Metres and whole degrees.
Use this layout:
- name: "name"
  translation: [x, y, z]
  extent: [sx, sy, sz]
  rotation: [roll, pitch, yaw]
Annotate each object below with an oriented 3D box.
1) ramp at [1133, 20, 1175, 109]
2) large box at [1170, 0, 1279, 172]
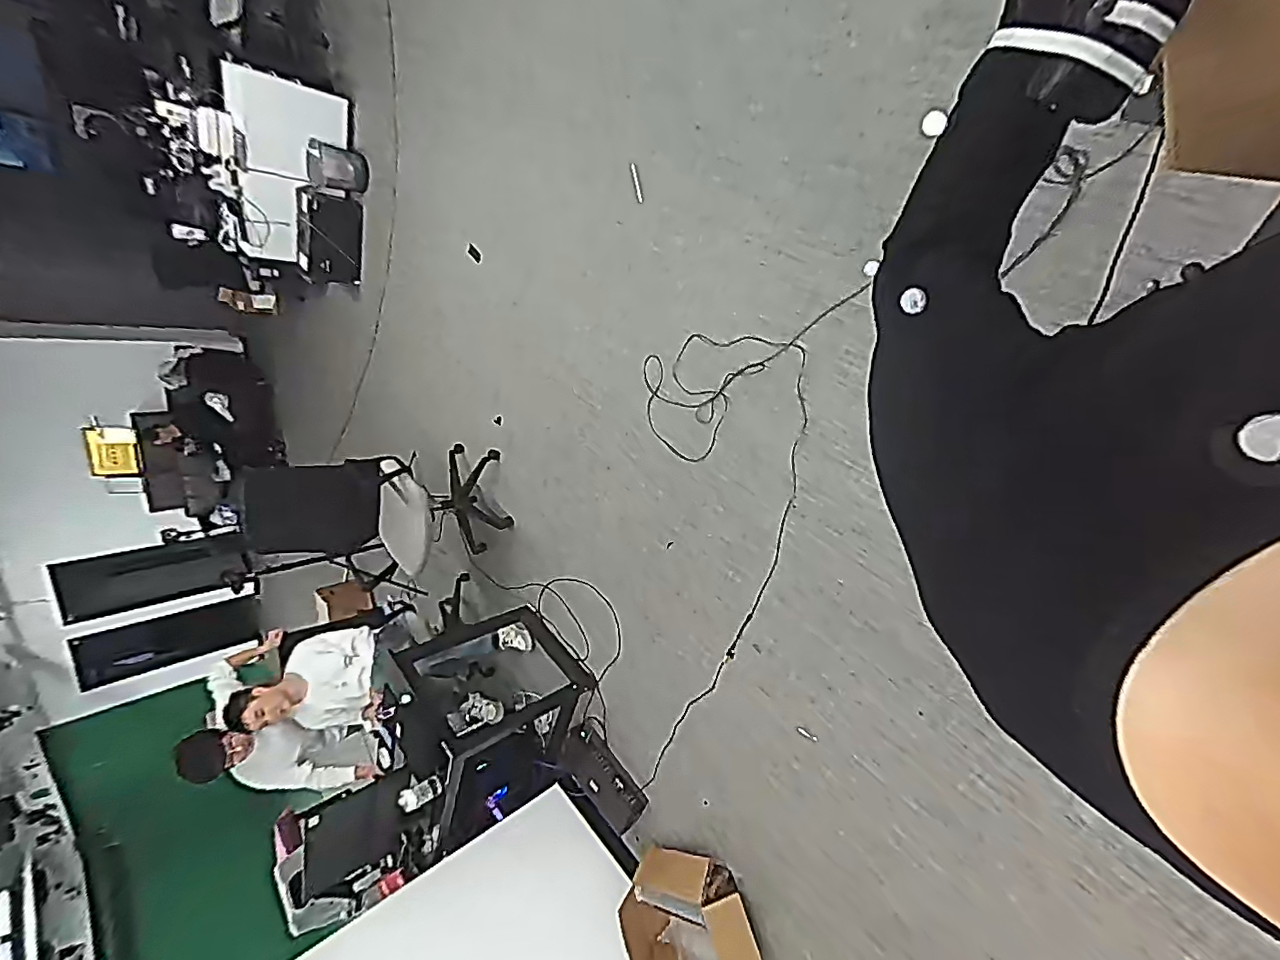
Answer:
- name: "ramp"
  translation: [1.186, -1.009, 0.634]
  extent: [0.509, 0.206, 0.991]
  rotation: [35, 122, 33]
- name: "large box"
  translation: [0.572, -0.343, 0.237]
  extent: [0.408, 0.320, 0.320]
  rotation: [36, 117, 37]
